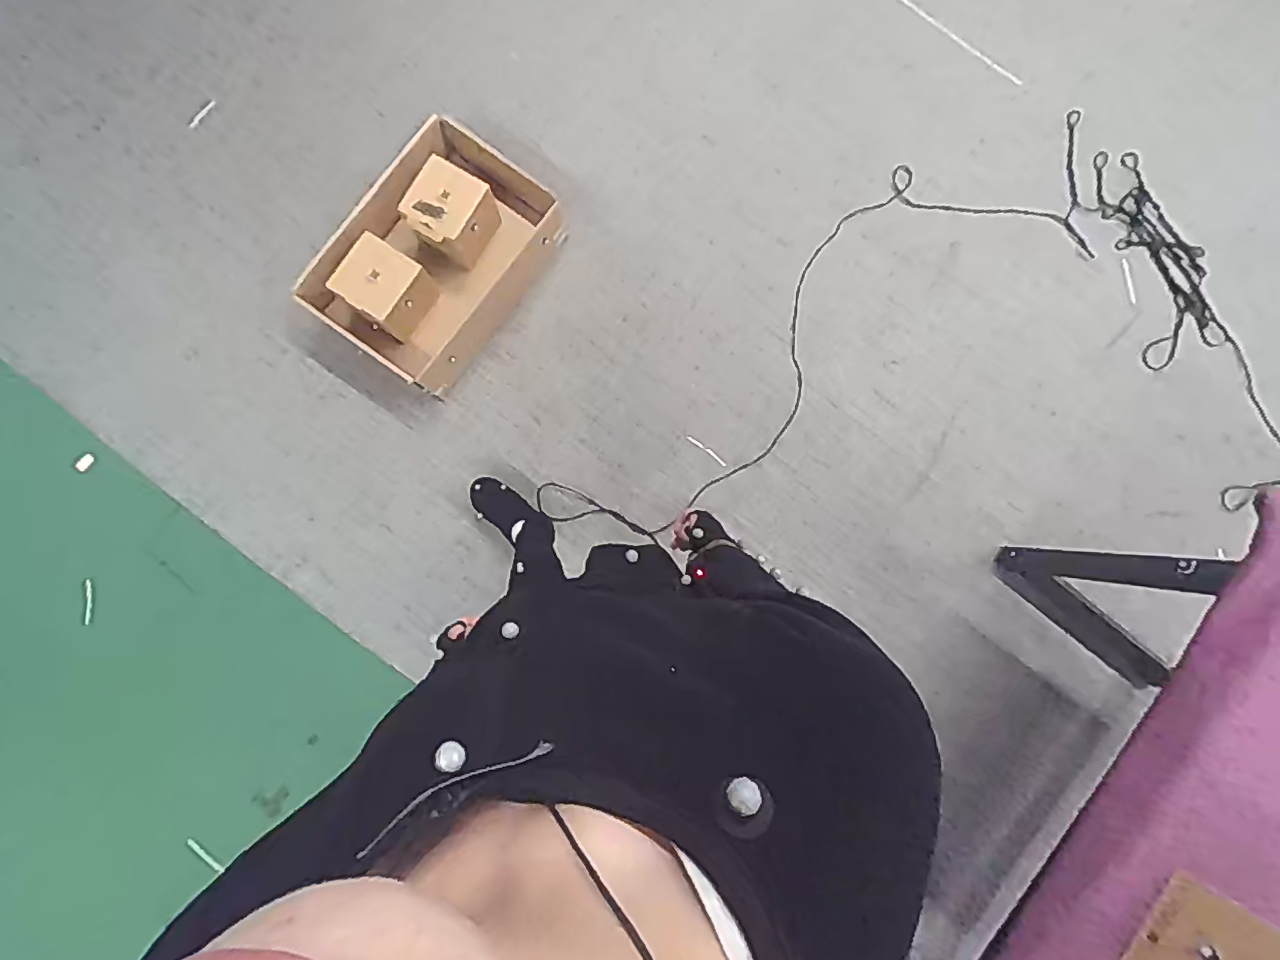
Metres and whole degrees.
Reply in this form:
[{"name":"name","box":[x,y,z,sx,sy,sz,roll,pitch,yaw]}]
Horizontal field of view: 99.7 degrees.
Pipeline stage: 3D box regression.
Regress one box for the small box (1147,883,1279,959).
[{"name":"small box","box":[0.818,0.665,0.683,0.179,0.176,0.168,38,86,1]}]

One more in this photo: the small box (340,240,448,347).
[{"name":"small box","box":[-0.636,-0.482,1.425,0.168,0.176,0.179,33,84,-1]}]

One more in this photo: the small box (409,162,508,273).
[{"name":"small box","box":[-0.475,-0.691,1.448,0.168,0.176,0.179,29,85,0]}]
